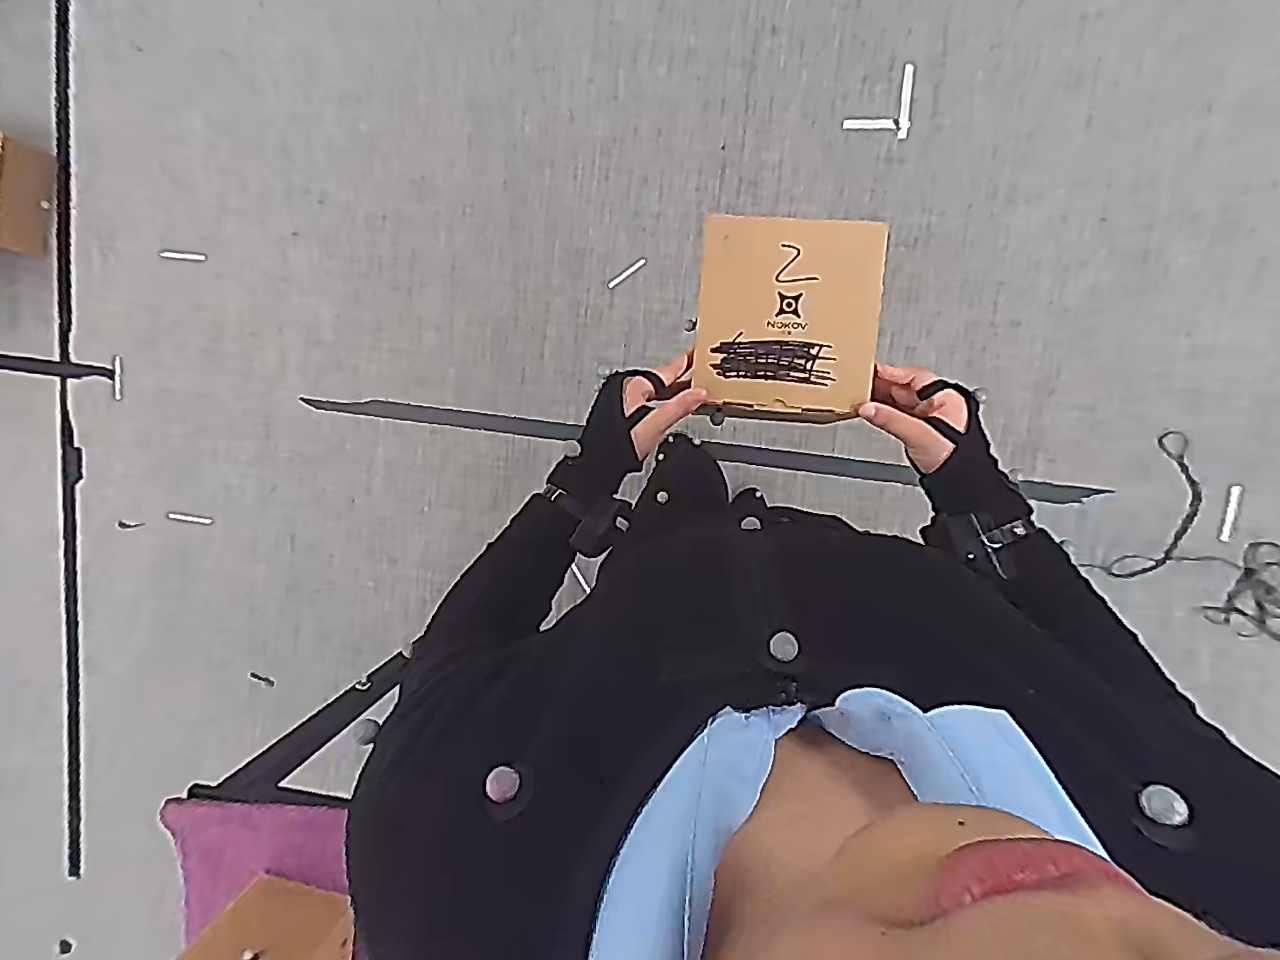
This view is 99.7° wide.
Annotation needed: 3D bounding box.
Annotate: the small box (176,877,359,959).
[{"bbox_3d":[-0.566,0.755,0.822,0.179,0.176,0.168,9,97,6],"label":"small box"}]
